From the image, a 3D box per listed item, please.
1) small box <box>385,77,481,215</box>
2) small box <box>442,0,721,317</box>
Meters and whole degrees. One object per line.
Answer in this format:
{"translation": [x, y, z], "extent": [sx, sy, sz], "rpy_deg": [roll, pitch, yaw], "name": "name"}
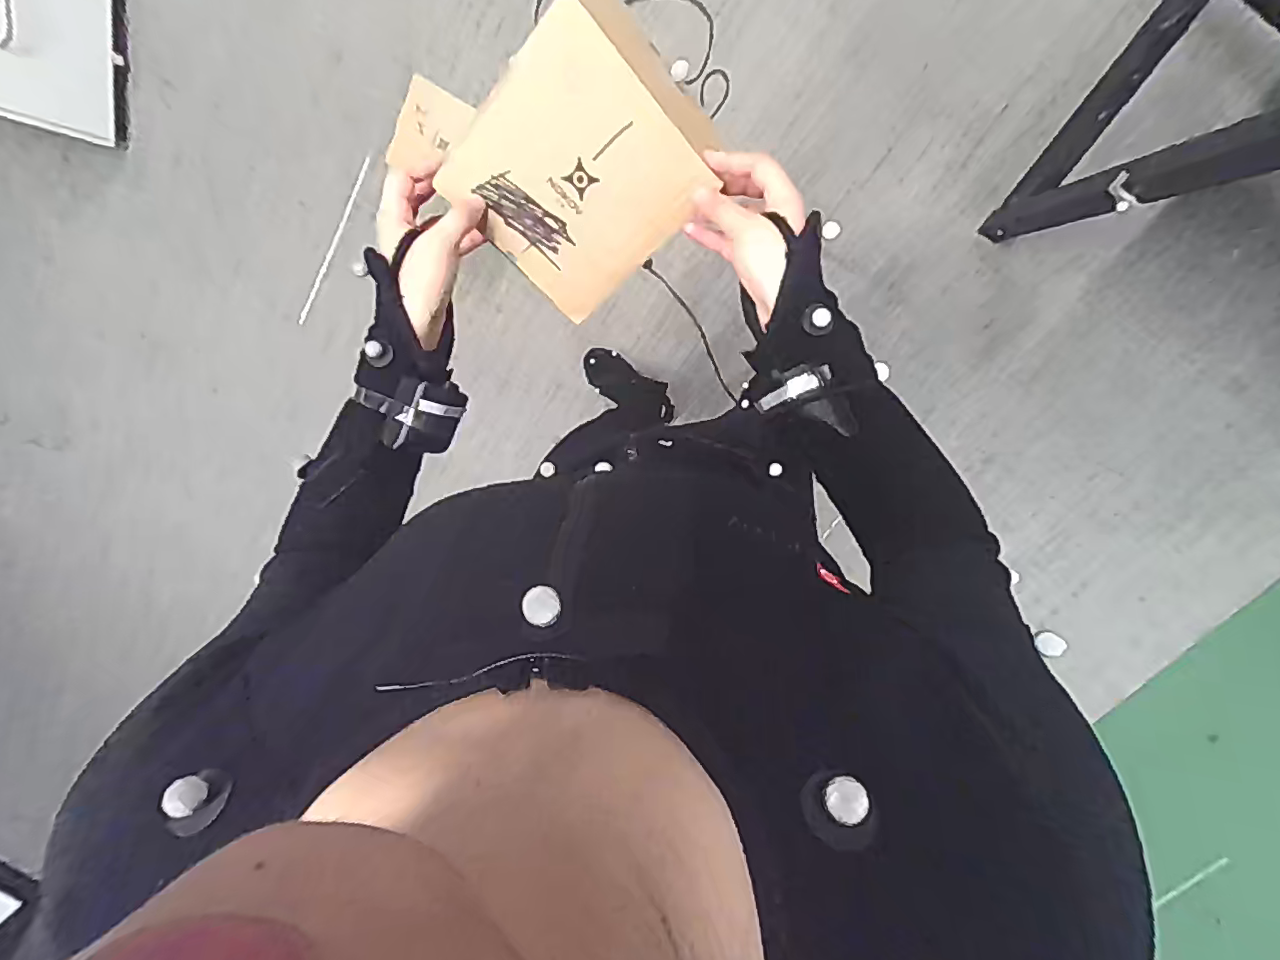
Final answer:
{"translation": [-0.367, -0.655, 1.093], "extent": [0.179, 0.176, 0.168], "rpy_deg": [30, 108, -3], "name": "small box"}
{"translation": [-0.039, -0.292, 0.493], "extent": [0.179, 0.176, 0.168], "rpy_deg": [-33, 120, 32], "name": "small box"}
